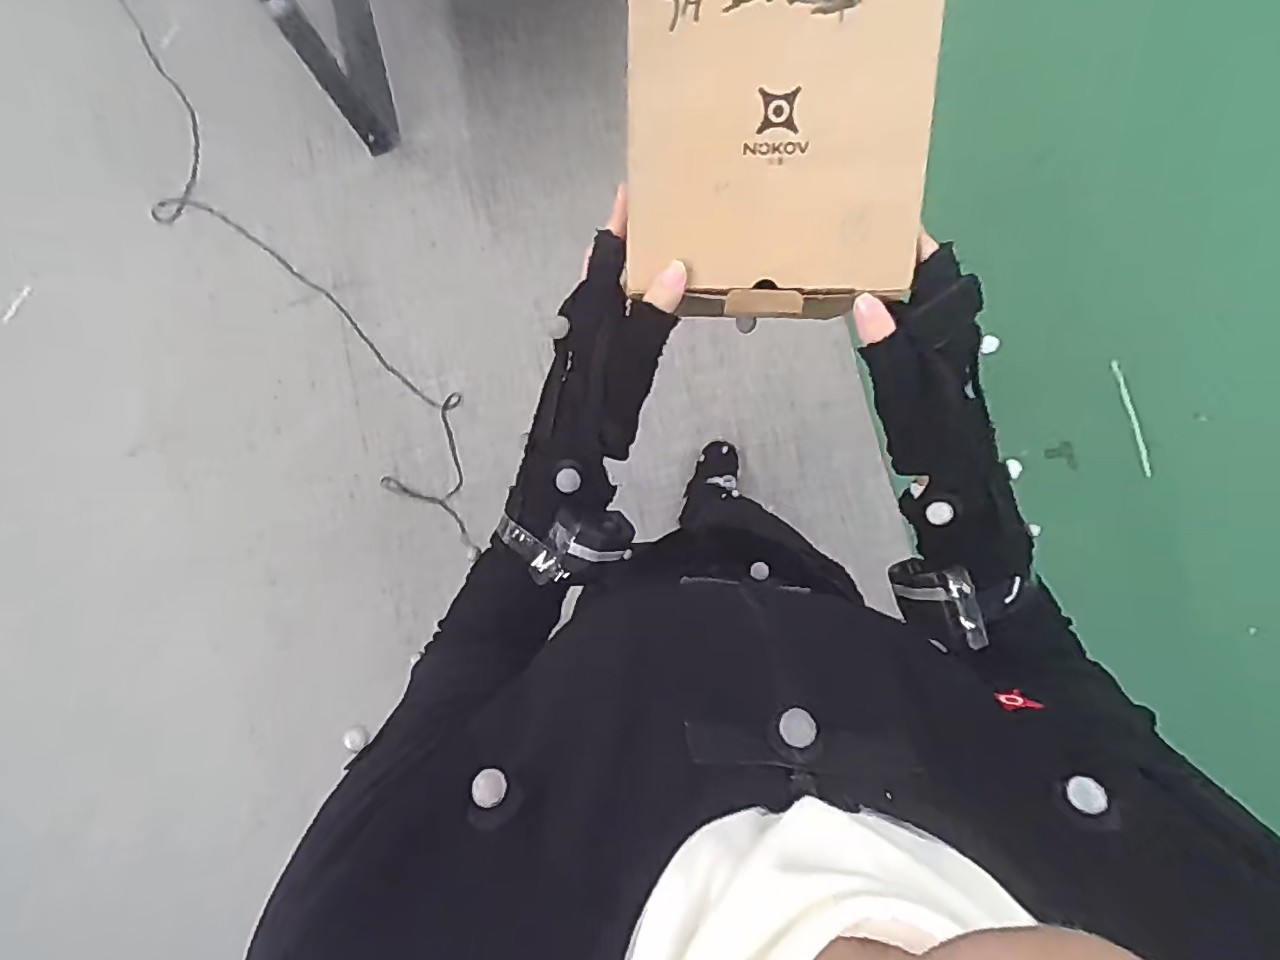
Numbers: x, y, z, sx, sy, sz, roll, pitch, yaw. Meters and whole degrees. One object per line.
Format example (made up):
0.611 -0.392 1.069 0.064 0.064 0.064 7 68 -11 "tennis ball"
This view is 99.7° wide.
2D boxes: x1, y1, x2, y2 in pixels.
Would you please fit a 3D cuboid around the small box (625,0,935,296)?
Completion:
0.082 -0.227 0.382 0.168 0.176 0.179 2 104 6 "small box"
